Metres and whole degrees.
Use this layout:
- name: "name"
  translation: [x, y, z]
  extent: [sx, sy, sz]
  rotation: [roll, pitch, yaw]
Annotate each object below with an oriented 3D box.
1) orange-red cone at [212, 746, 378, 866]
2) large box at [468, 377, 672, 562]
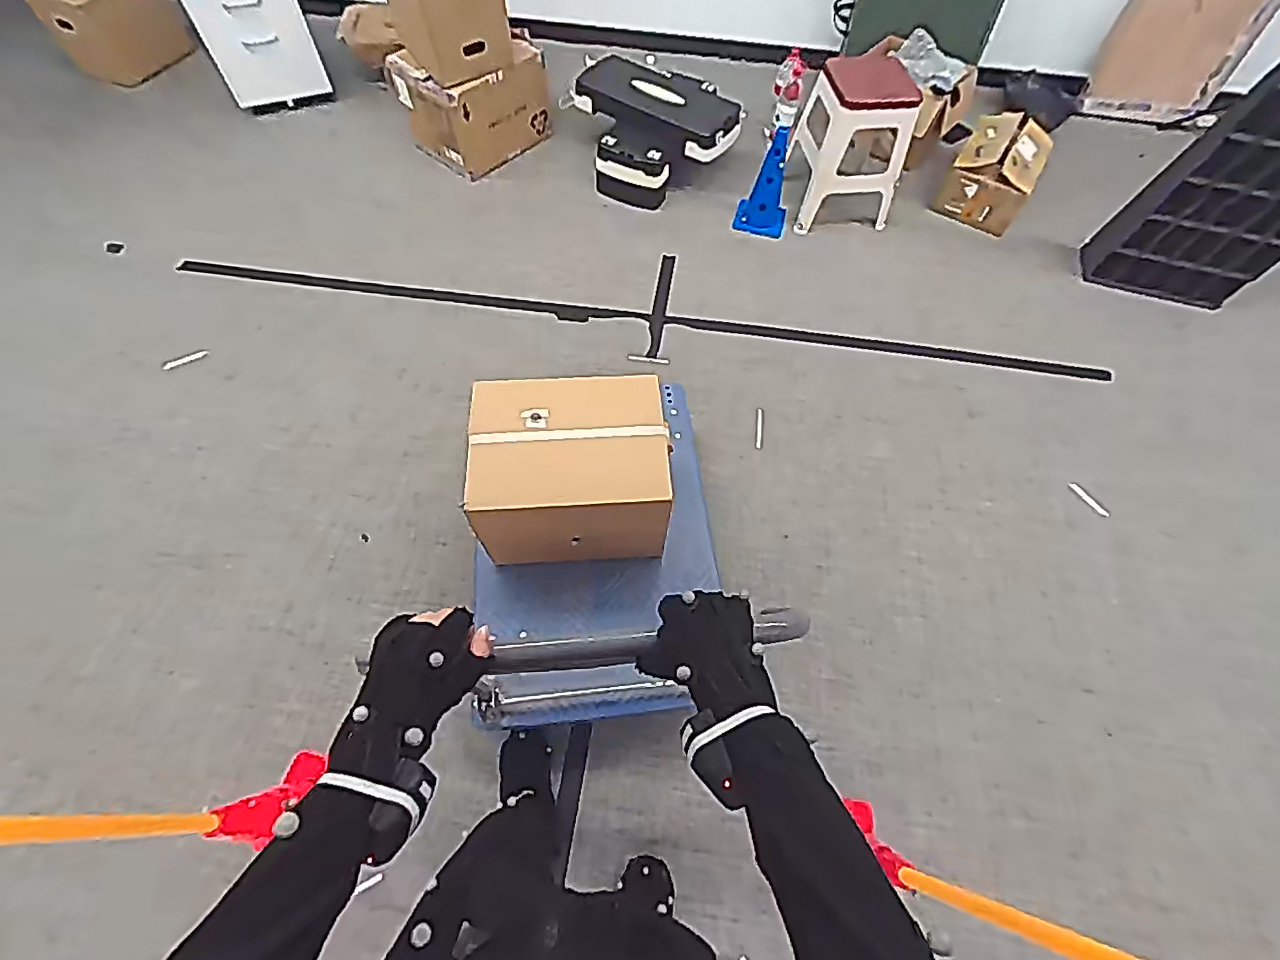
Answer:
- name: "orange-red cone"
  translation: [-0.701, 0.635, 1.049]
  extent: [0.198, 0.360, 0.199]
  rotation: [15, 61, 5]
- name: "large box"
  translation: [-0.148, -0.013, 1.252]
  extent: [0.408, 0.320, 0.320]
  rotation: [-3, 62, -3]
